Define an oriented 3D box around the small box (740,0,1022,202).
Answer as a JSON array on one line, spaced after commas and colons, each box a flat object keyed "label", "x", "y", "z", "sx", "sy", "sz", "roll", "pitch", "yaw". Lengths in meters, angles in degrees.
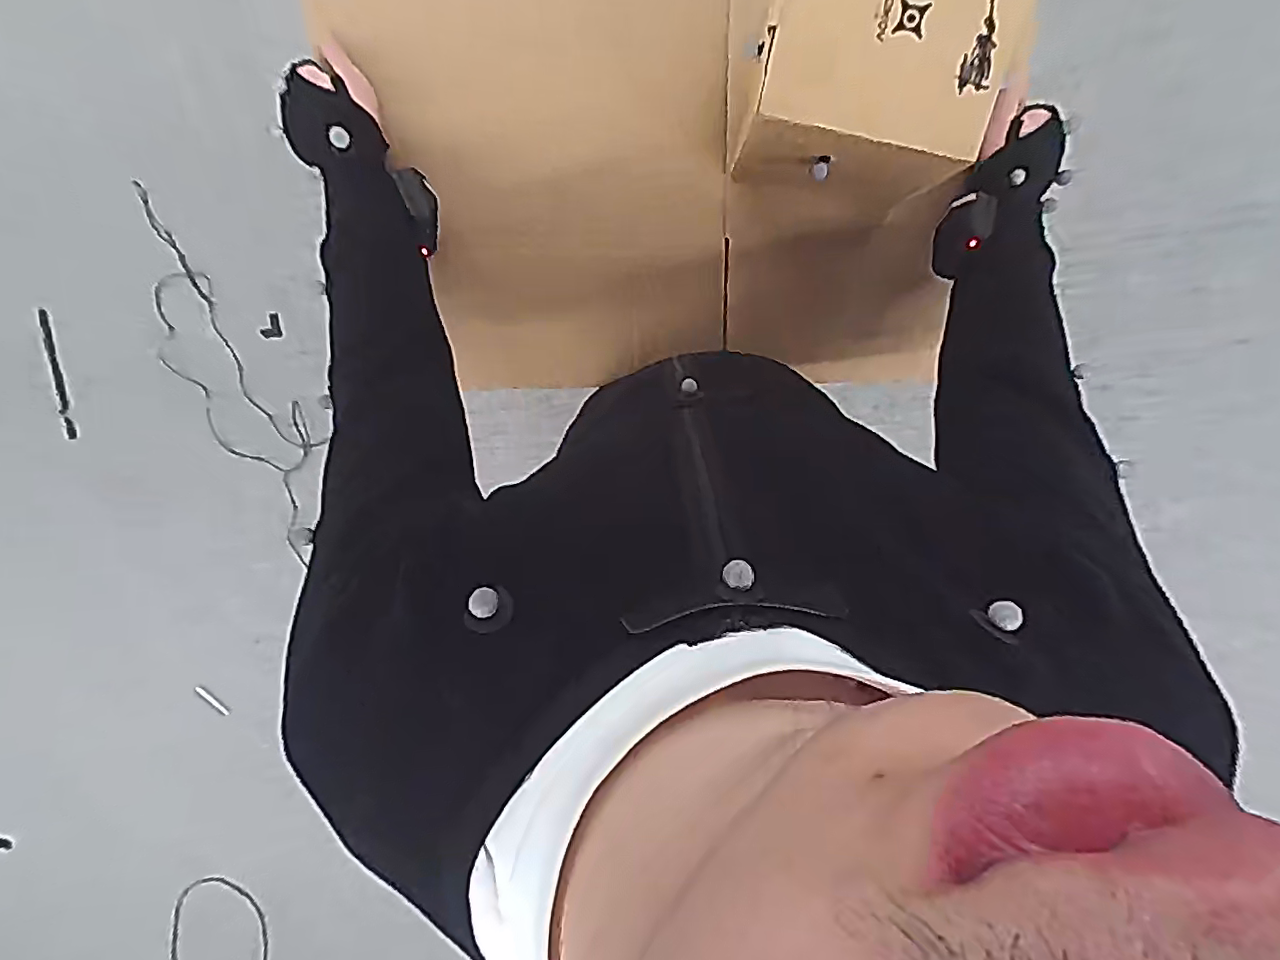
[{"label": "small box", "x": 0.196, "y": -0.365, "z": 0.478, "sx": 0.179, "sy": 0.176, "sz": 0.168, "roll": 12, "pitch": 105, "yaw": 1}]
